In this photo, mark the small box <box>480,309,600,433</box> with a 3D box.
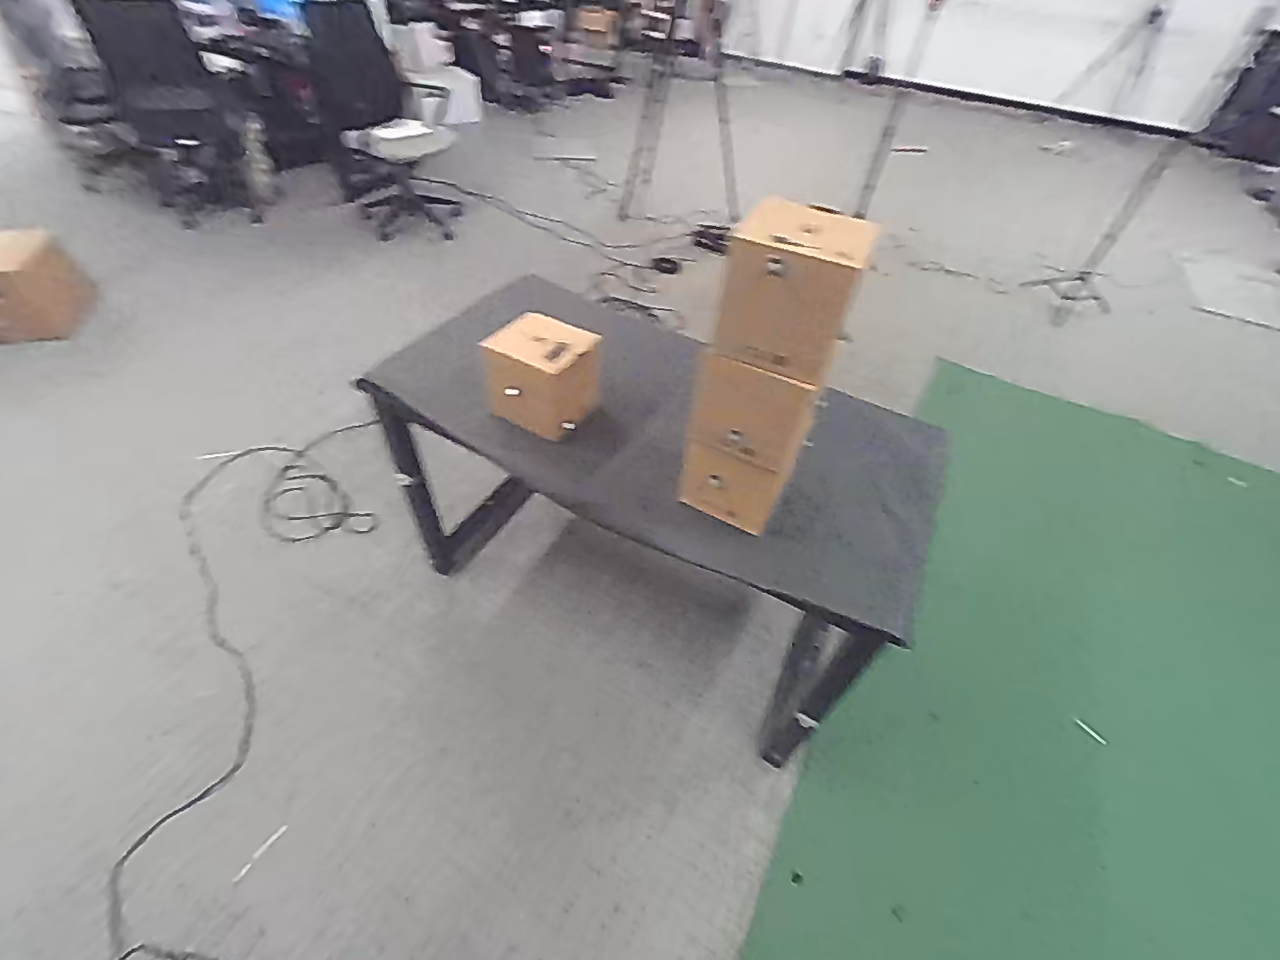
[{"bbox_3d":[-0.199,-0.220,1.112,0.179,0.176,0.168,25,48,18],"label":"small box"}]

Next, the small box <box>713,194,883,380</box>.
[{"bbox_3d":[0.213,-0.268,0.749,0.168,0.176,0.179,22,47,15],"label":"small box"}]

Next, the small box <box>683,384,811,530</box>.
[{"bbox_3d":[0.188,-0.039,0.983,0.168,0.176,0.179,25,48,17],"label":"small box"}]
